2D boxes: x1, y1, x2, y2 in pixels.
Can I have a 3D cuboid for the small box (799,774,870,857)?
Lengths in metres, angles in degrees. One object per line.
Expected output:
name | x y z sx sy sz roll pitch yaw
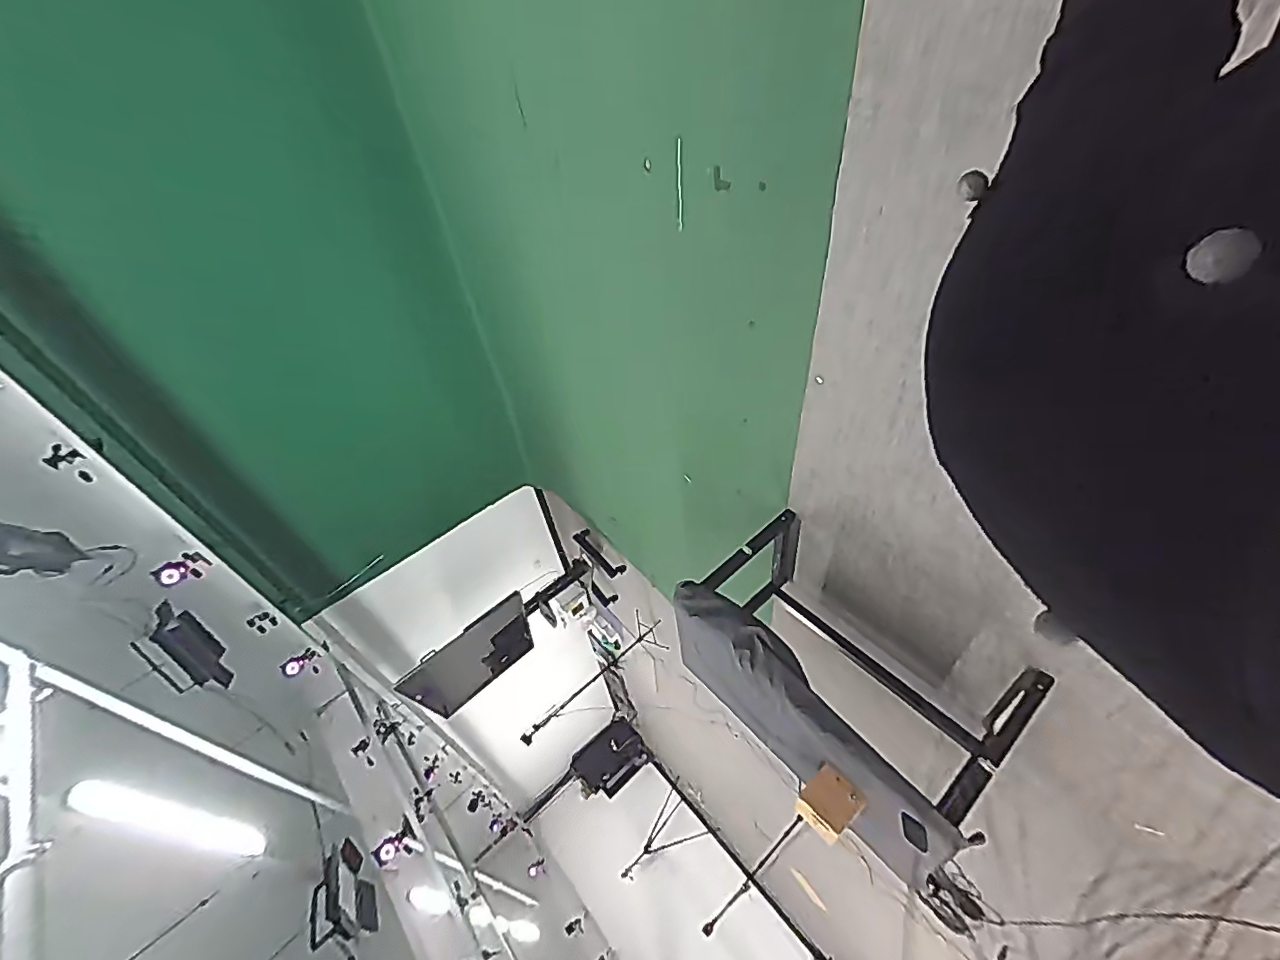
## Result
small box | 0.689 1.183 1.916 0.168 0.176 0.179 36 151 37
